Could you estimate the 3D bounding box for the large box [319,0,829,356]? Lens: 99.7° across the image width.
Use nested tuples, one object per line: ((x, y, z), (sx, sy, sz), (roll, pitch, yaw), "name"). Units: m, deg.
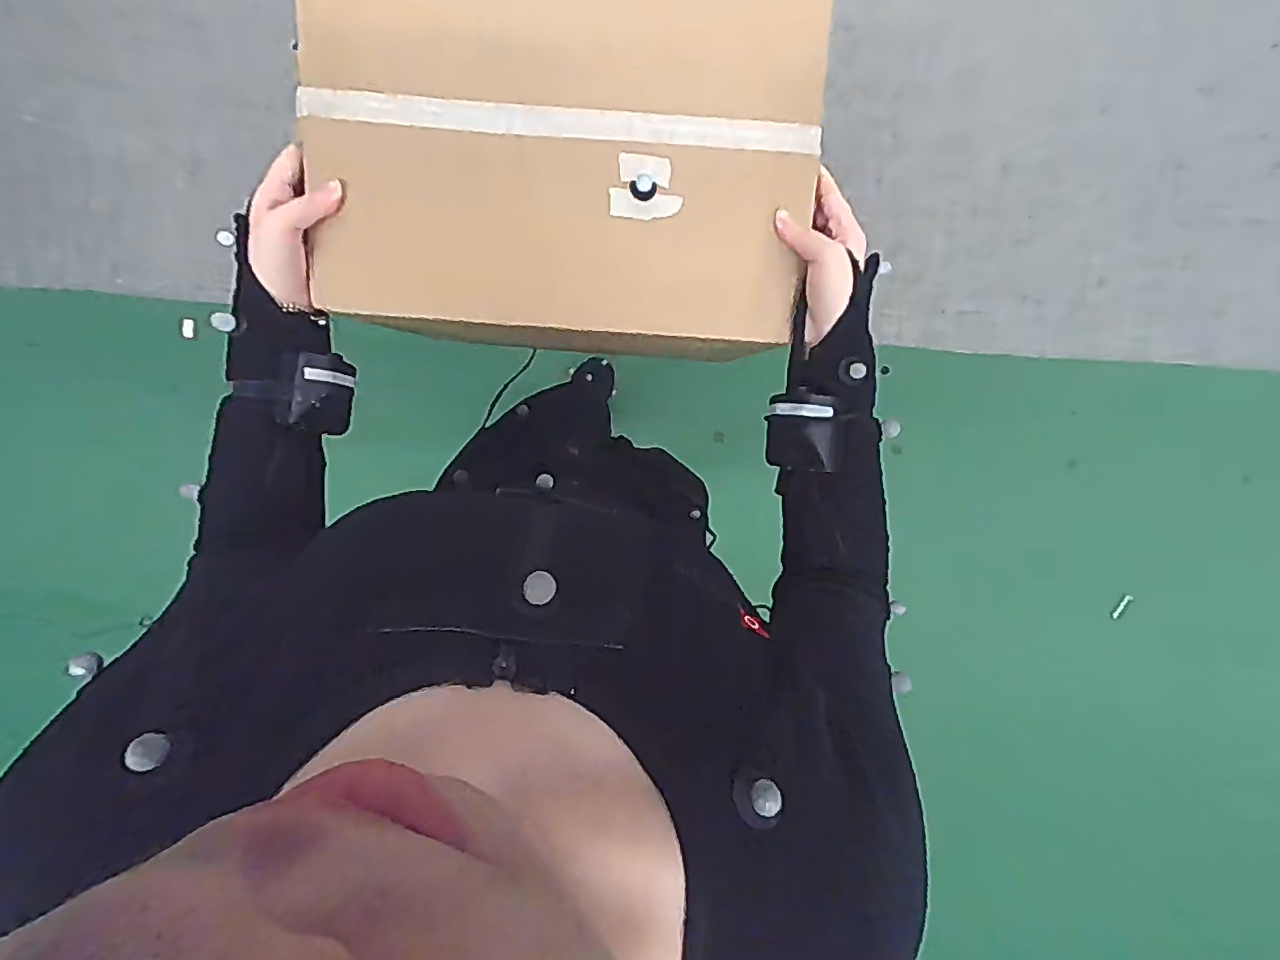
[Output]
((-0.061, -0.310, 0.583), (0.408, 0.320, 0.320), (3, 100, -3), "large box")
